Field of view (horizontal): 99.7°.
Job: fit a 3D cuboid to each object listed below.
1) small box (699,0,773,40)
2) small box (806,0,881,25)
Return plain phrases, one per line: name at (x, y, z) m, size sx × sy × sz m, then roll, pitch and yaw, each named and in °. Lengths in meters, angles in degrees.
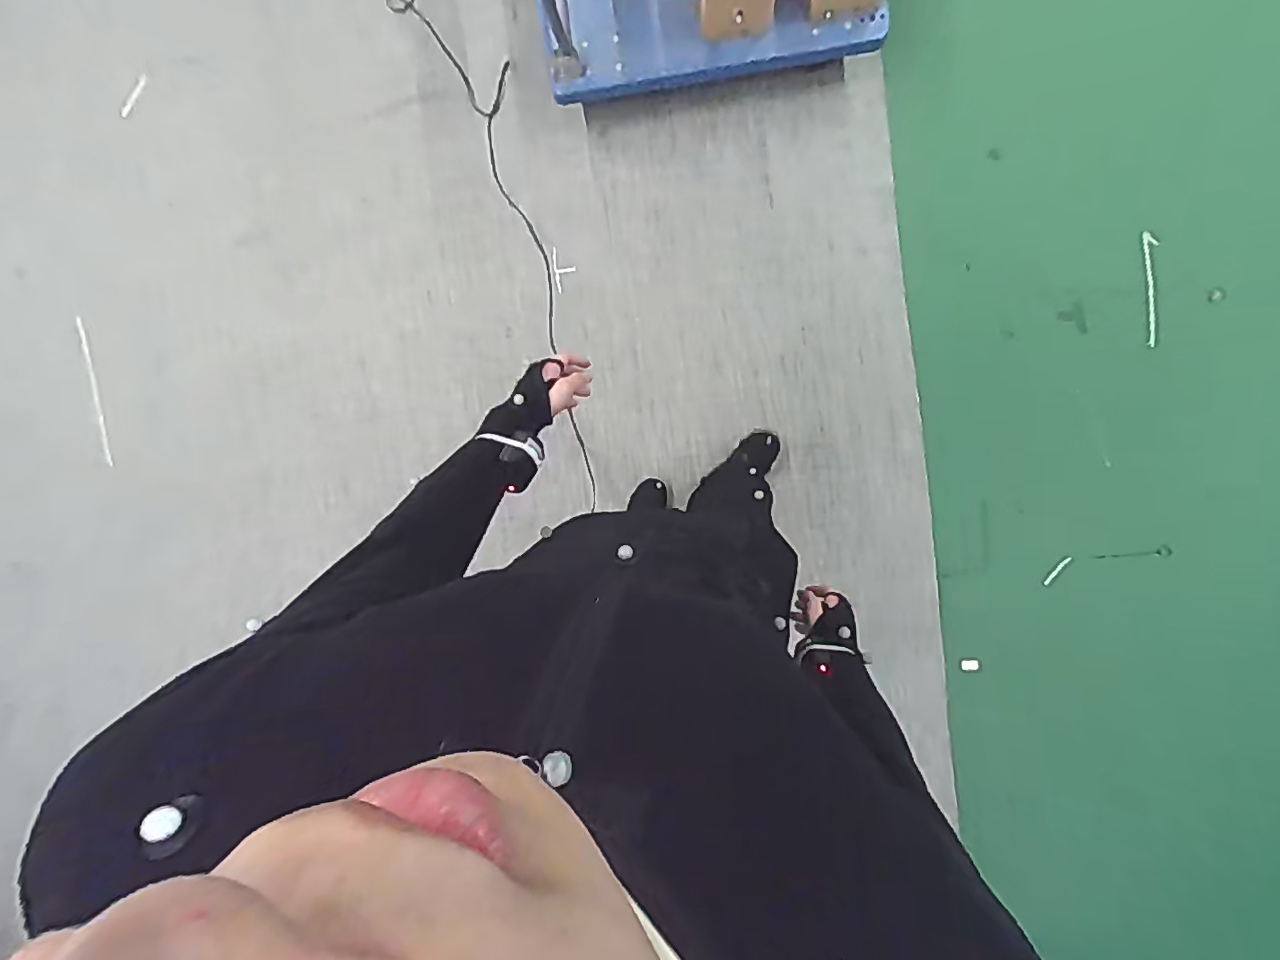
small box at (0.226, -1.185, 1.276) m, size 0.168 × 0.176 × 0.179 m, roll -6°, pitch 94°, yaw 4°
small box at (0.492, -1.221, 1.272) m, size 0.168 × 0.176 × 0.179 m, roll -8°, pitch 93°, yaw 4°
